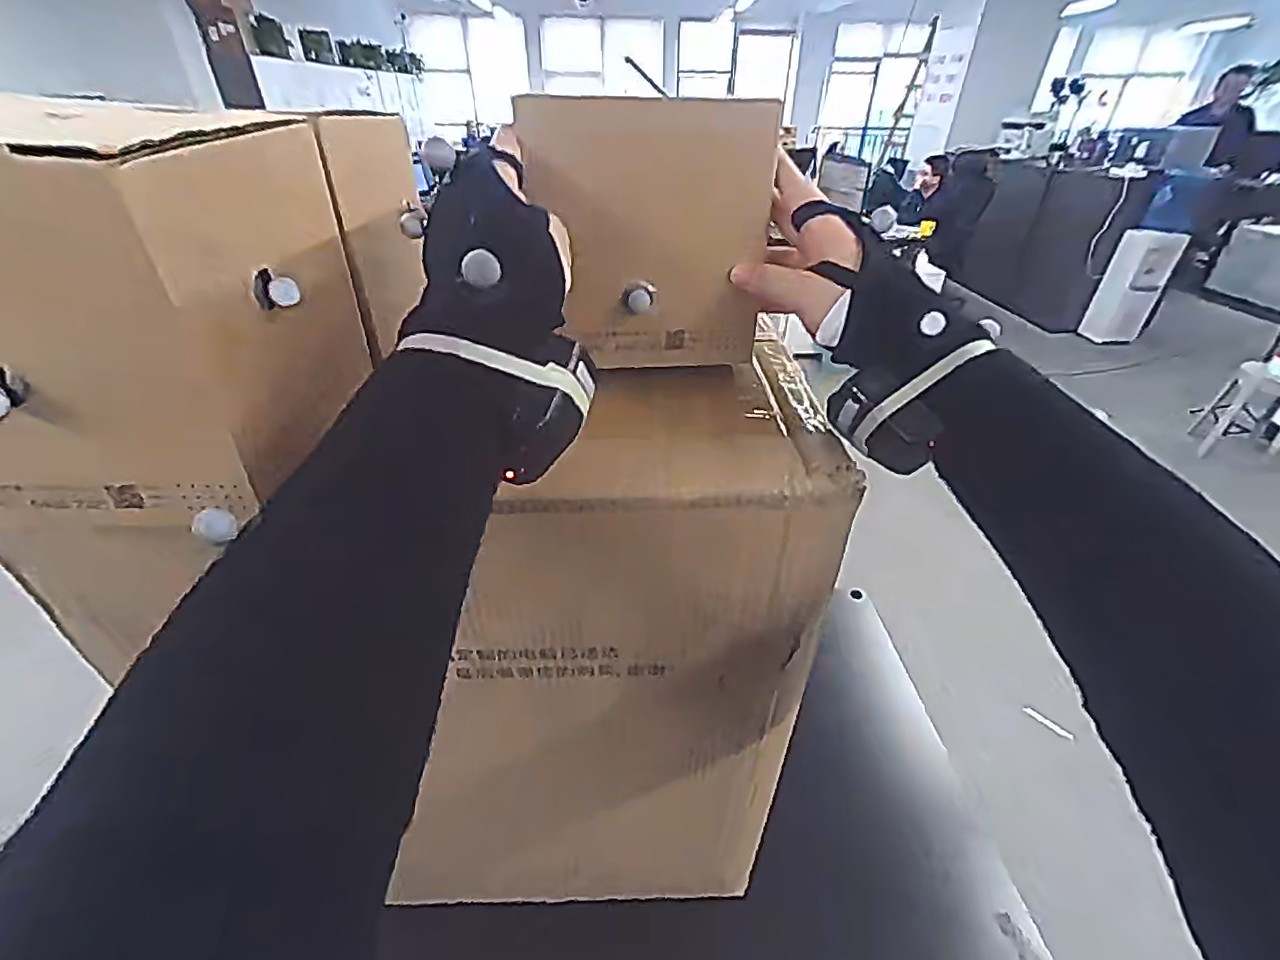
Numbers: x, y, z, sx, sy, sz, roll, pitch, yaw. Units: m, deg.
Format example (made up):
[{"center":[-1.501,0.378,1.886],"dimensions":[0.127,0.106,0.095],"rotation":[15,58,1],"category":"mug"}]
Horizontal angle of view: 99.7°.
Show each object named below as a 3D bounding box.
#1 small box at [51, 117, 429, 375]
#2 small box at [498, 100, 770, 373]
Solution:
[{"center":[-0.290,-0.197,0.450],"dimensions":[0.168,0.176,0.179],"rotation":[-2,34,-3],"category":"small box"},{"center":[-0.009,-0.192,0.431],"dimensions":[0.168,0.176,0.179],"rotation":[-4,32,-4],"category":"small box"}]
